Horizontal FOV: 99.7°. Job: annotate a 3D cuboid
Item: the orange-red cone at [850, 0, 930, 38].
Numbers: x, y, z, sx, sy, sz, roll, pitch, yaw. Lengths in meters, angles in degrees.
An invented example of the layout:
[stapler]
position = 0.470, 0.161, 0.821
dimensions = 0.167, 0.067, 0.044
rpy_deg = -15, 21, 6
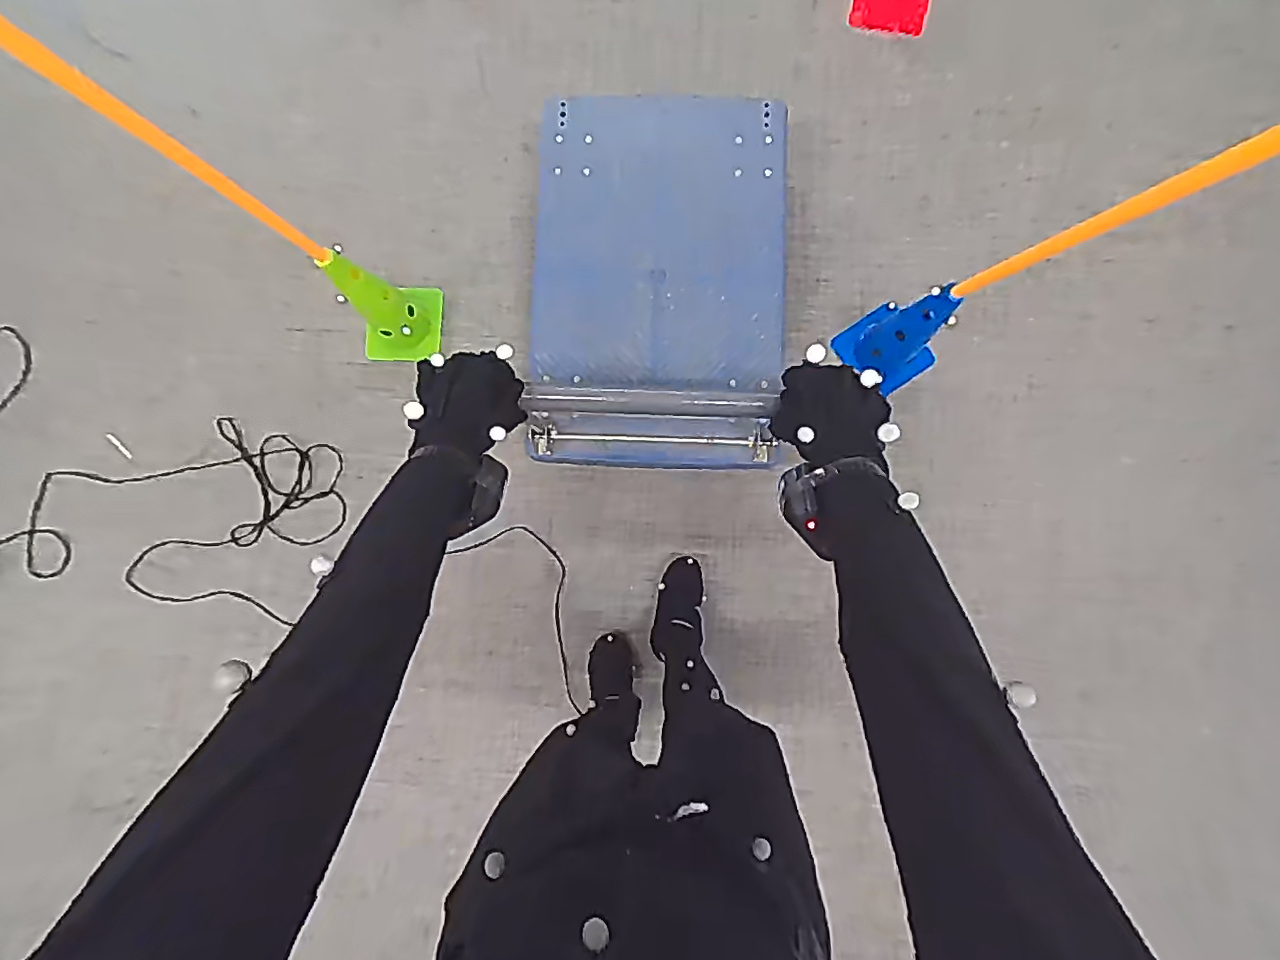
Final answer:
[orange-red cone]
position = 0.674, -1.317, 1.298
dimensions = 0.198, 0.360, 0.199
rpy_deg = 14, 86, 5
